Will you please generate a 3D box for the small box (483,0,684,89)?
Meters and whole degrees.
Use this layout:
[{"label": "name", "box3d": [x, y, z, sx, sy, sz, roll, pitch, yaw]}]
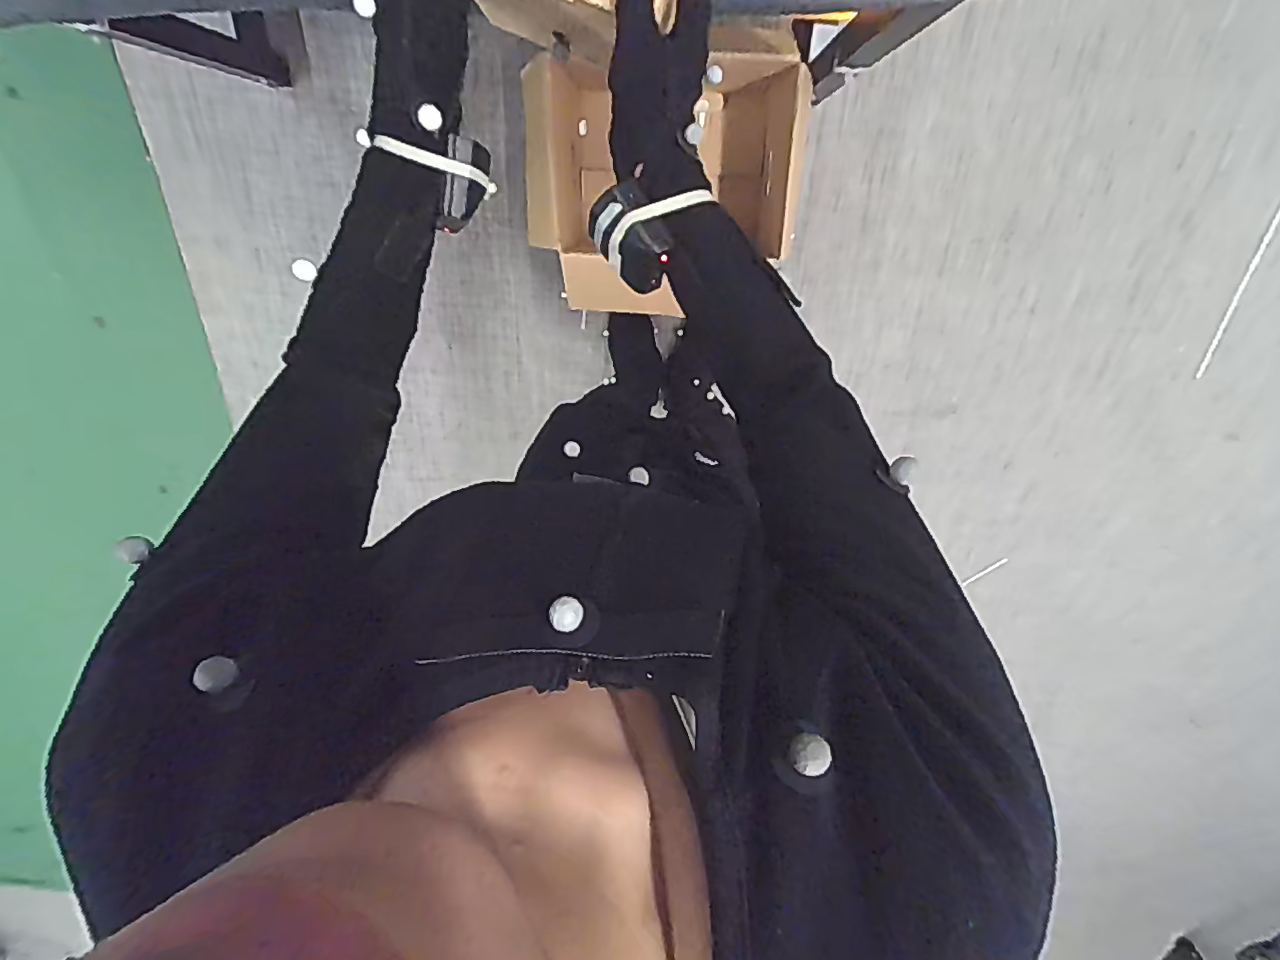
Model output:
[{"label": "small box", "box3d": [-0.036, -0.441, 0.409, 0.168, 0.176, 0.179, 18, 114, -6]}]
